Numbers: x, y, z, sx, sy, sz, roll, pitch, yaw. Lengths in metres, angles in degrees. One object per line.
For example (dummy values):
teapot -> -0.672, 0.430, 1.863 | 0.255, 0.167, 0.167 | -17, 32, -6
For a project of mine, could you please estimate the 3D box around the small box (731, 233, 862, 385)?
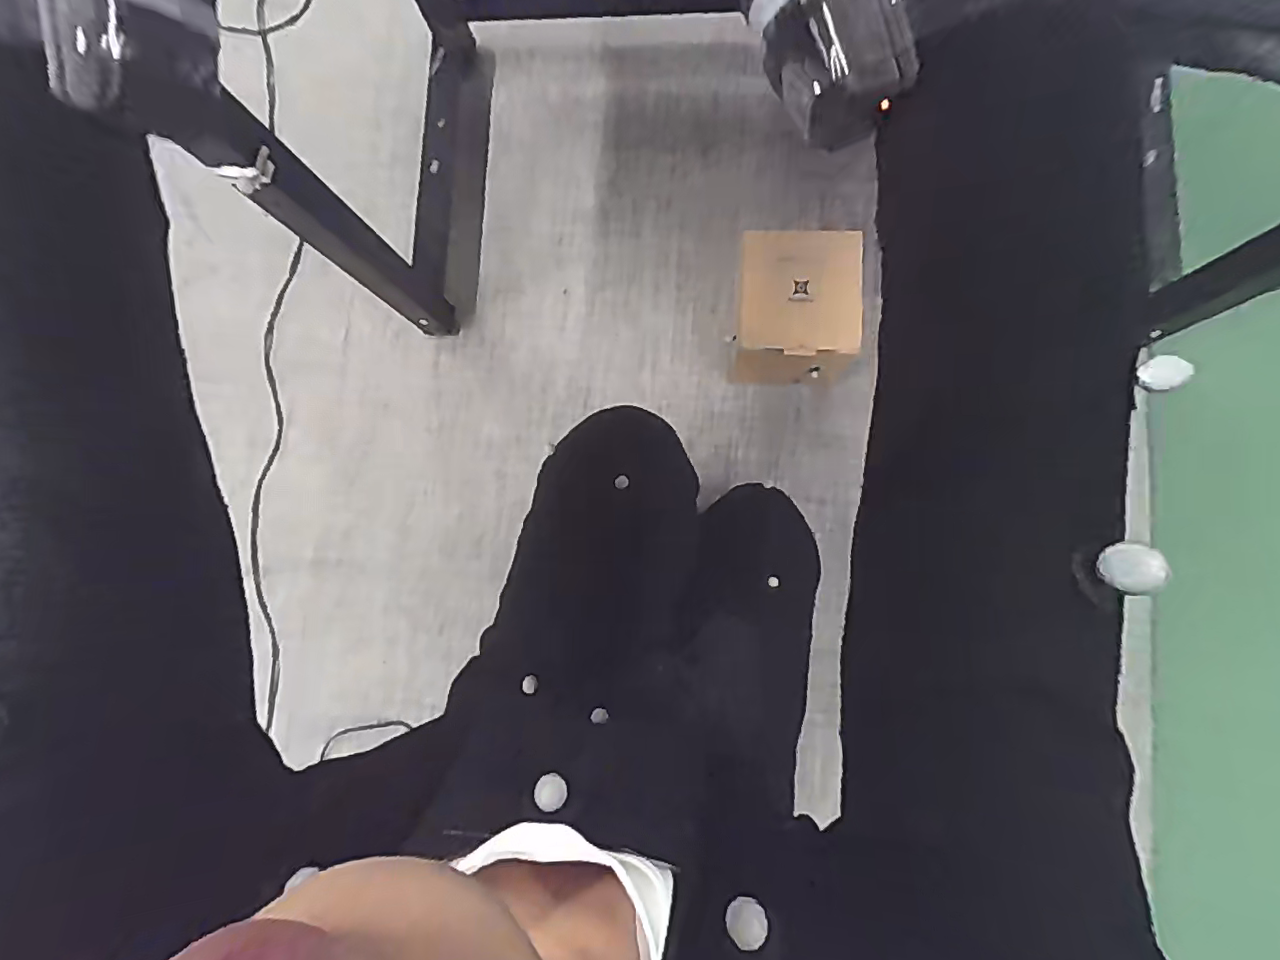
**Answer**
small box -> 0.232, -0.252, 0.832 | 0.168, 0.176, 0.179 | 2, 82, 5
